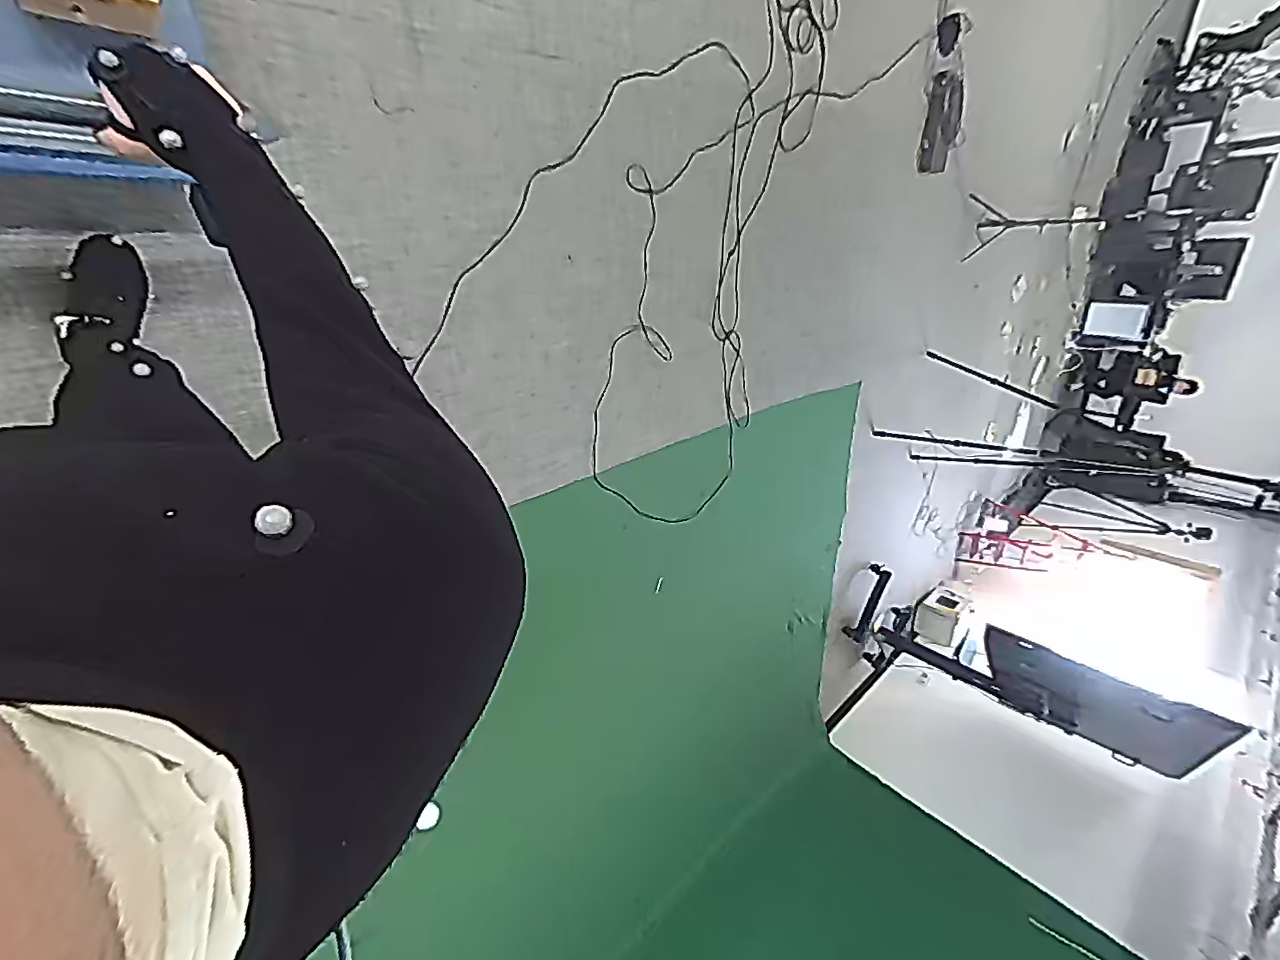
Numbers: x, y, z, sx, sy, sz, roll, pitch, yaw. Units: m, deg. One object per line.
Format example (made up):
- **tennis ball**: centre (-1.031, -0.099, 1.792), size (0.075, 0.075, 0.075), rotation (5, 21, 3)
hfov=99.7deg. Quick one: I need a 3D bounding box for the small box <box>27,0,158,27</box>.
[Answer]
- **small box**: centre (-0.844, -0.813, 0.791), size (0.168, 0.176, 0.179), rotation (-18, 119, -39)
